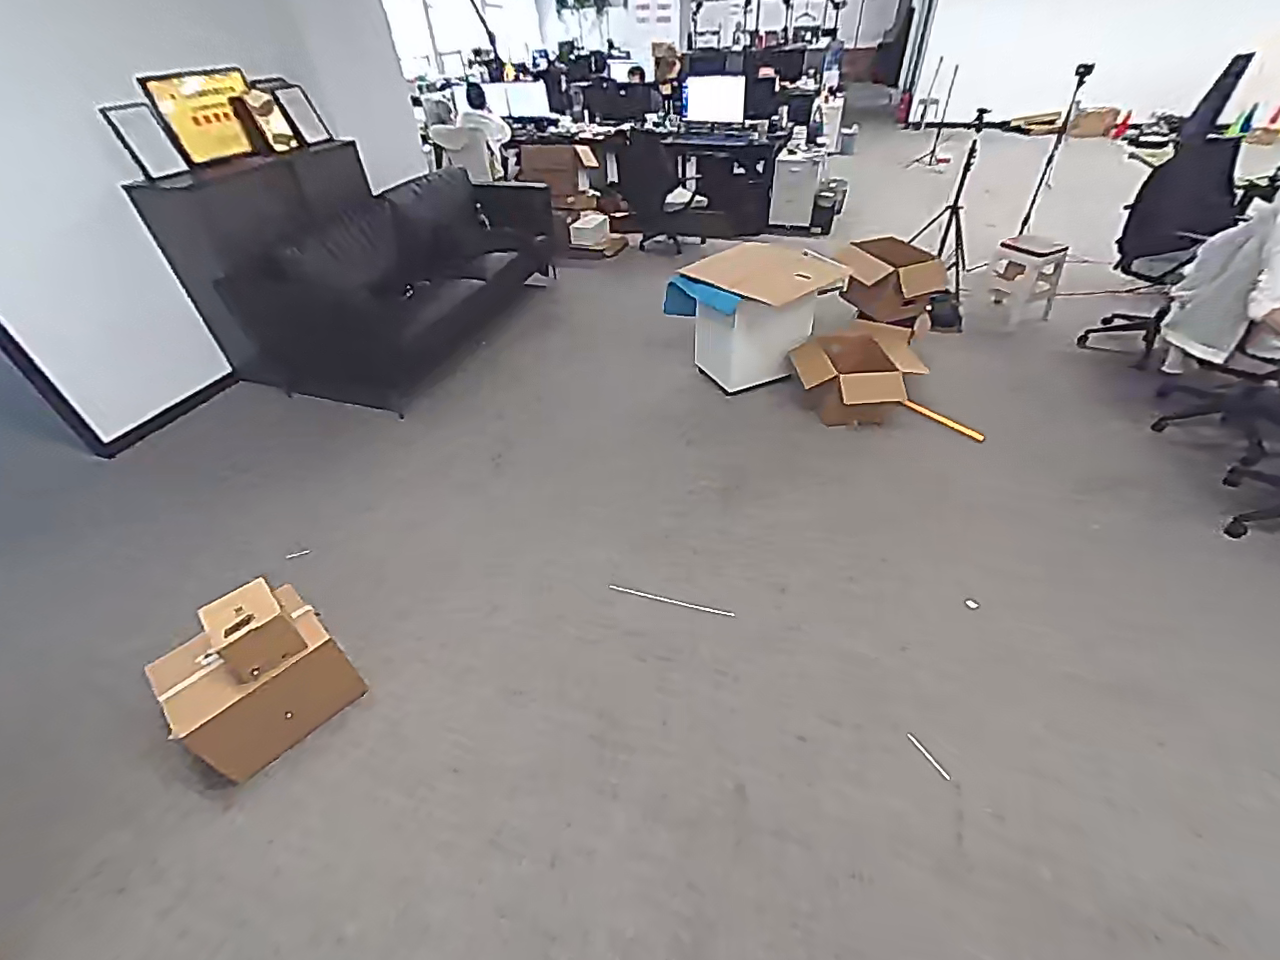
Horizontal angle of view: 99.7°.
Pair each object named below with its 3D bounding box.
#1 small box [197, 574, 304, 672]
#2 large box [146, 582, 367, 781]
[{"bbox_3d":[-1.070,0.403,1.496,0.168,0.176,0.179,-33,51,-31],"label":"small box"},{"bbox_3d":[-1.141,0.601,1.647,0.320,0.320,0.408,29,51,32],"label":"large box"}]
